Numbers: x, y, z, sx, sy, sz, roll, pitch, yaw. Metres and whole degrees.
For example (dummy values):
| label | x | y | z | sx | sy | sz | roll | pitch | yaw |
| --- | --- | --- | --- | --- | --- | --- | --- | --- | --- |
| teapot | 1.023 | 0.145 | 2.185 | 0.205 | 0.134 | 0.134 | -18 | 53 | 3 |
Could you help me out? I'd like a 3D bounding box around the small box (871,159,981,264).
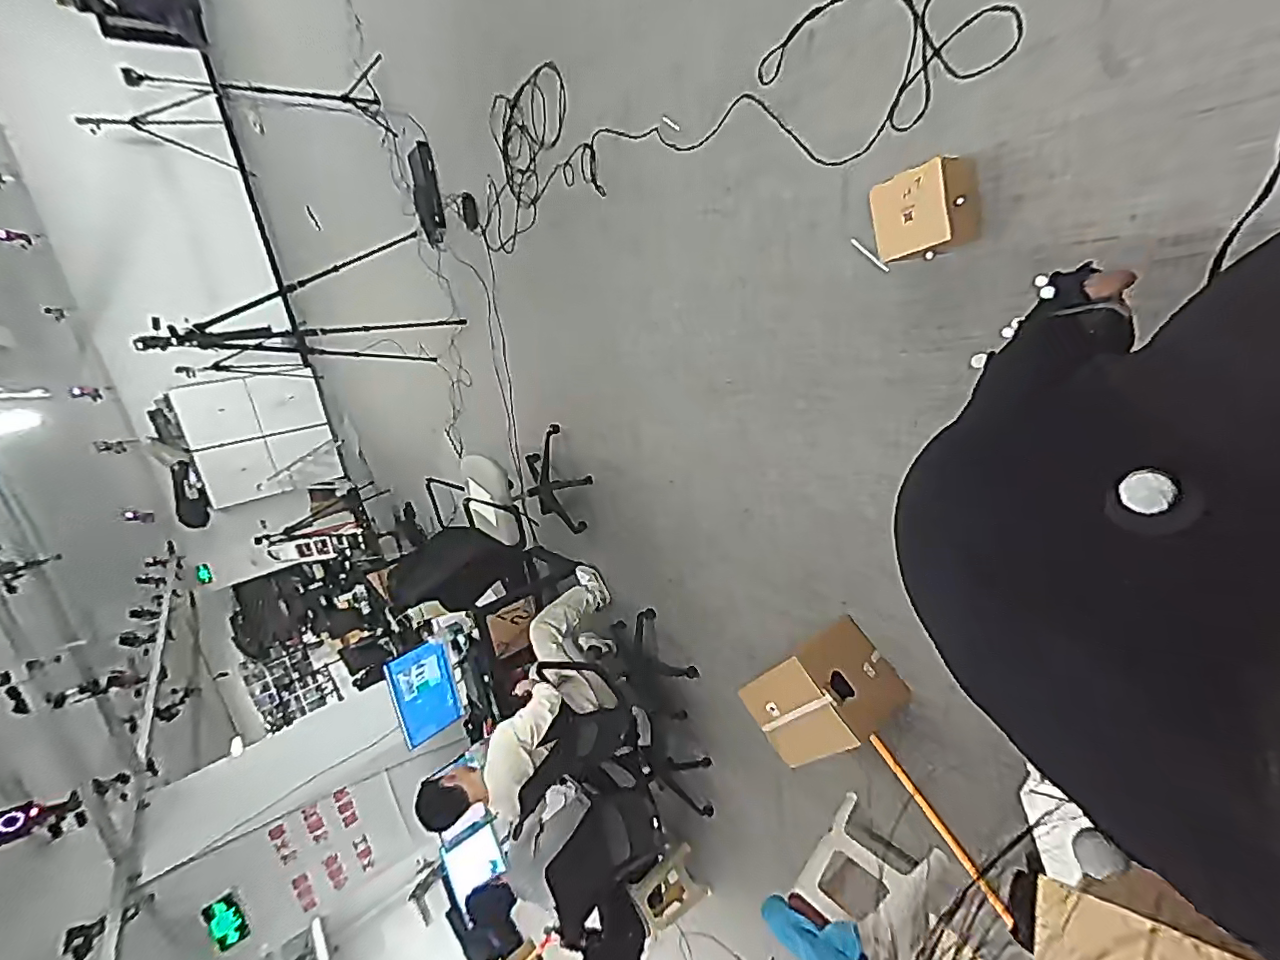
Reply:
| label | x | y | z | sx | sy | sz | roll | pitch | yaw |
| --- | --- | --- | --- | --- | --- | --- | --- | --- | --- |
| small box | 0.673 | -0.626 | 1.268 | 0.168 | 0.176 | 0.179 | -1 | 106 | 53 |
